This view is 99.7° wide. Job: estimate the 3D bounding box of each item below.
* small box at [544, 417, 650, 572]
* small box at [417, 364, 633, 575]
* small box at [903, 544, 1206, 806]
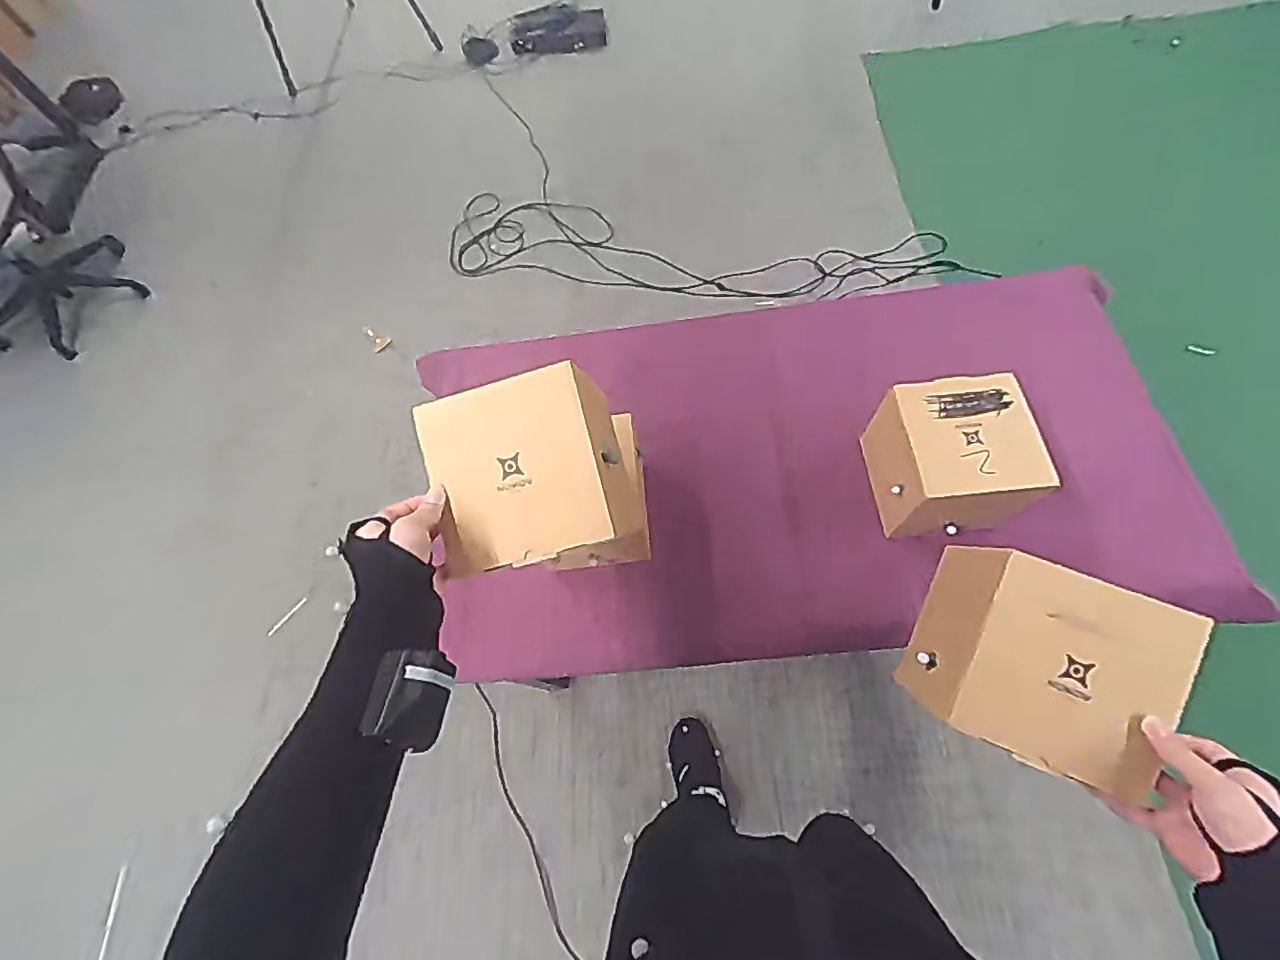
[{"bbox_3d":[-0.078,0.028,0.828,0.168,0.176,0.179,-7,65,4],"label":"small box"},{"bbox_3d":[-0.114,-0.006,0.600,0.168,0.176,0.179,-16,86,7],"label":"small box"},{"bbox_3d":[0.392,0.176,0.552,0.168,0.176,0.179,21,88,13],"label":"small box"}]
